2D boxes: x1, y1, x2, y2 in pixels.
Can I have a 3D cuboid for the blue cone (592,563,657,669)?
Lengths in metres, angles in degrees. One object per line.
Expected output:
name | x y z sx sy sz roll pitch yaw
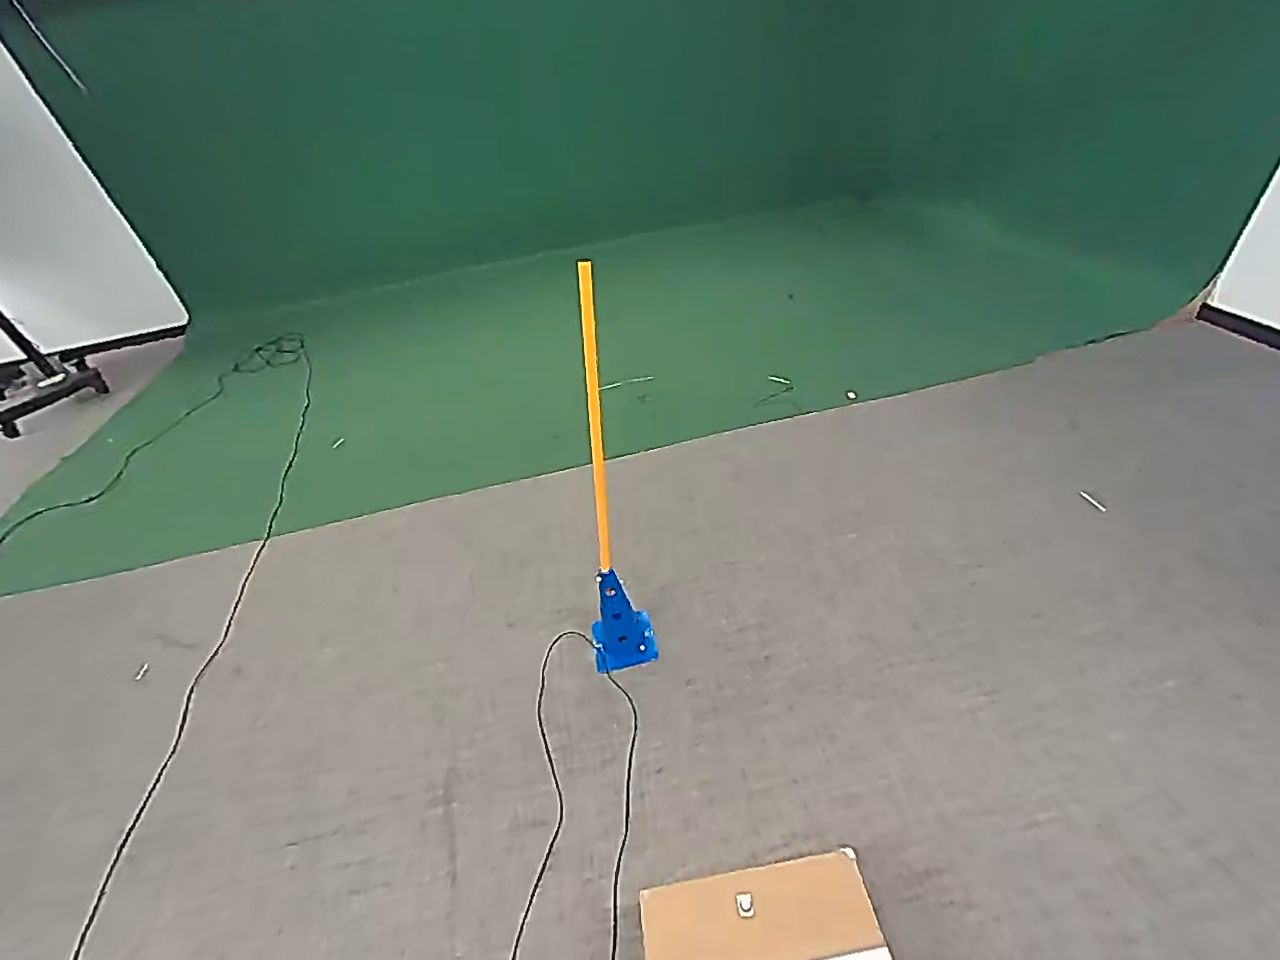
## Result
blue cone | -0.071 0.382 1.641 0.193 0.380 0.192 -14 40 -7
